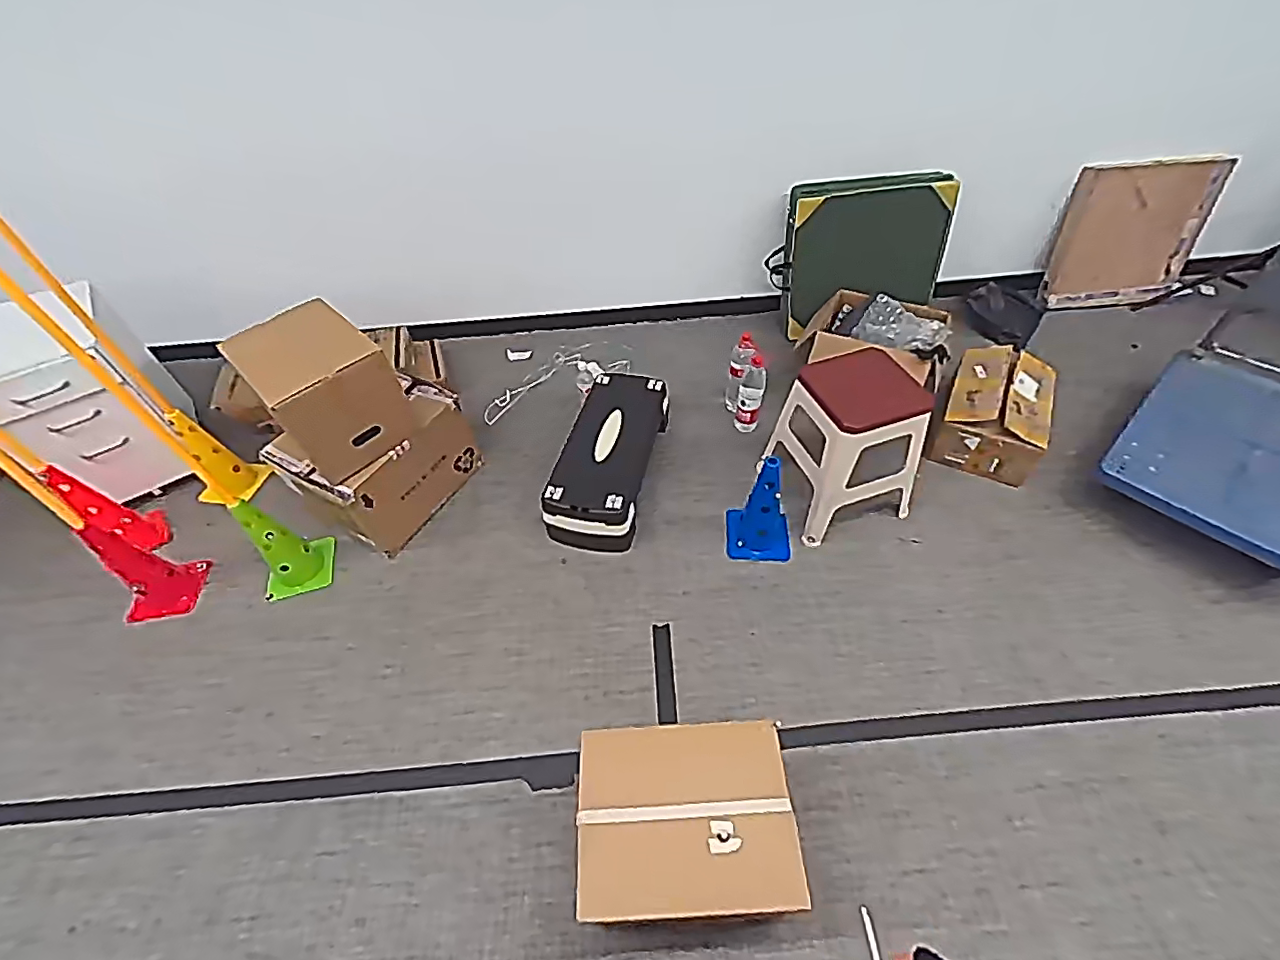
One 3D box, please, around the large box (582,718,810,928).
[{"bbox_3d":[0.091,0.722,1.135,0.408,0.320,0.320,-3,50,-1],"label":"large box"}]
